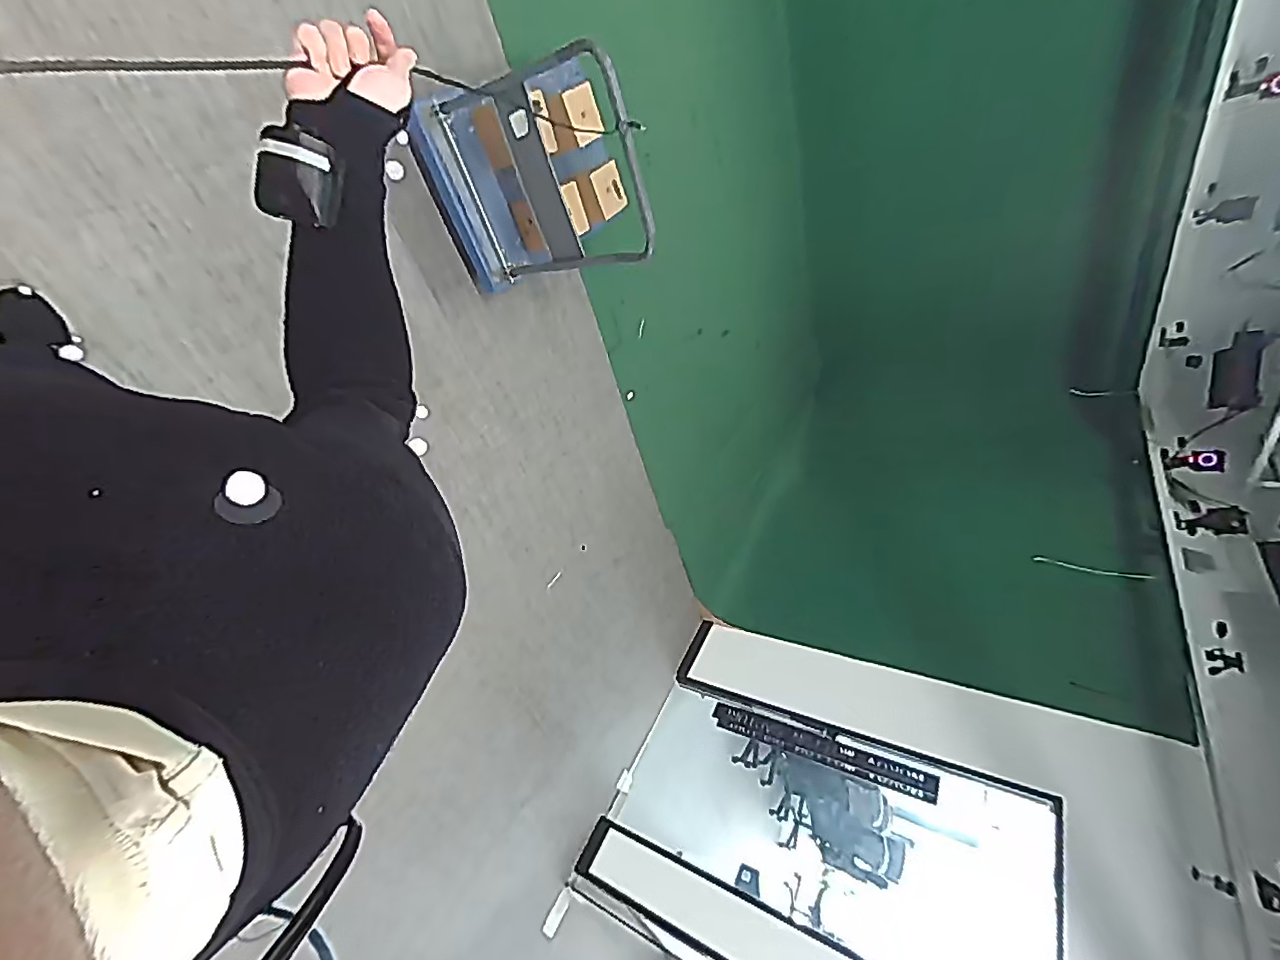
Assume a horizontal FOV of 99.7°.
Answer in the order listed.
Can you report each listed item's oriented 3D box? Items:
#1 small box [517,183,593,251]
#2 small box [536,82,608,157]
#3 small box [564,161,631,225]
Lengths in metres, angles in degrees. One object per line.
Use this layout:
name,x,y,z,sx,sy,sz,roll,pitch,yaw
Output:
small box,-0.299,-0.930,1.912,0.179,0.176,0.168,-50,133,-38
small box,-0.248,-1.281,1.927,0.179,0.176,0.168,-55,137,-35
small box,-0.165,-1.097,2.077,0.179,0.176,0.168,-54,135,-34
